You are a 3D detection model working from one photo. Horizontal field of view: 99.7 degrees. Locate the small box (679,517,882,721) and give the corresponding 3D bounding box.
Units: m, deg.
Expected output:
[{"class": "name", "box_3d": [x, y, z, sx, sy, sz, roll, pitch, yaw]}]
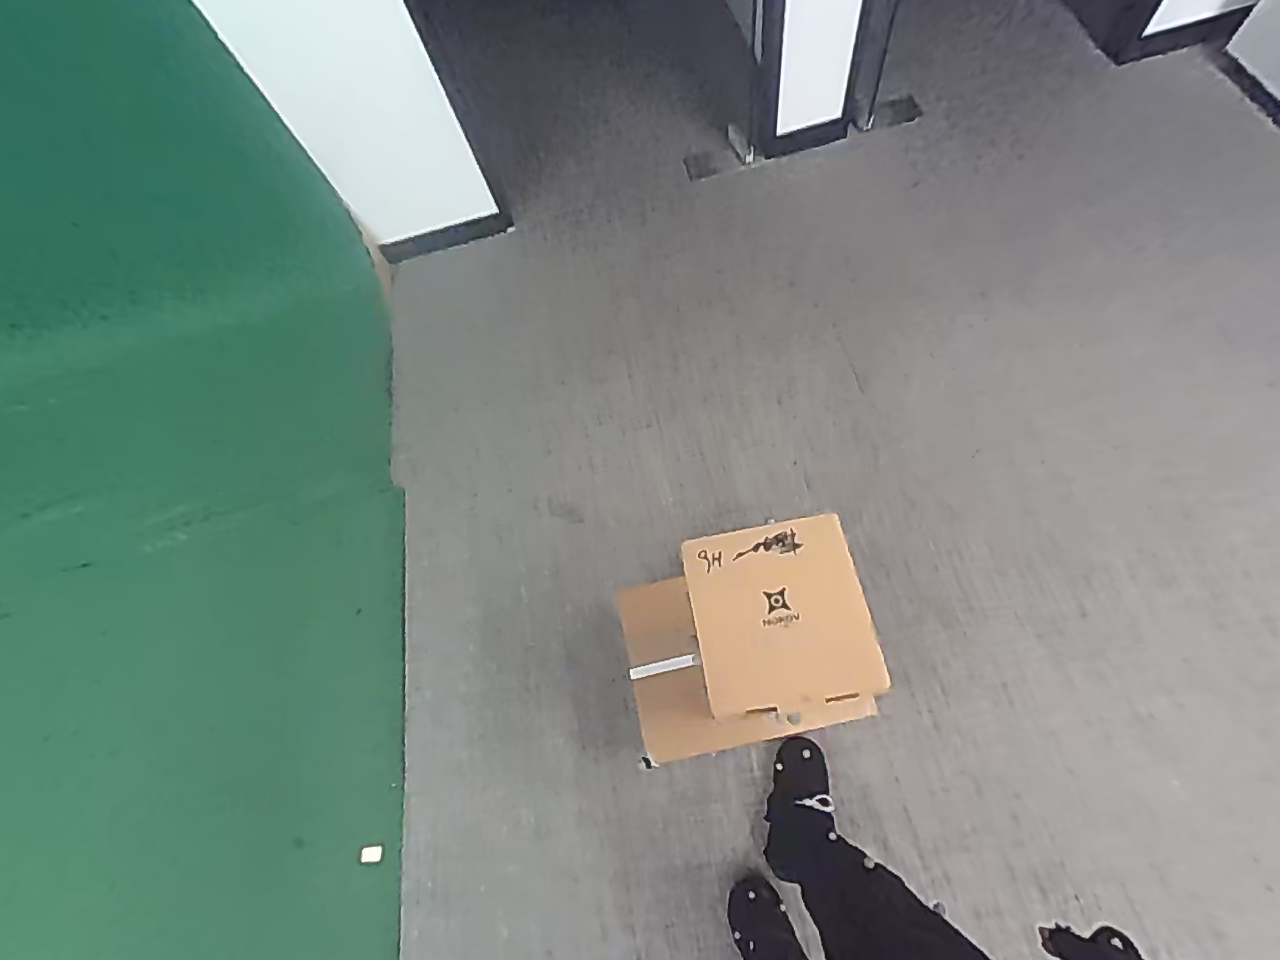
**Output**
[{"class": "small box", "box_3d": [0.145, 0.160, 0.601, 0.168, 0.176, 0.179, -11, 66, 6]}]
